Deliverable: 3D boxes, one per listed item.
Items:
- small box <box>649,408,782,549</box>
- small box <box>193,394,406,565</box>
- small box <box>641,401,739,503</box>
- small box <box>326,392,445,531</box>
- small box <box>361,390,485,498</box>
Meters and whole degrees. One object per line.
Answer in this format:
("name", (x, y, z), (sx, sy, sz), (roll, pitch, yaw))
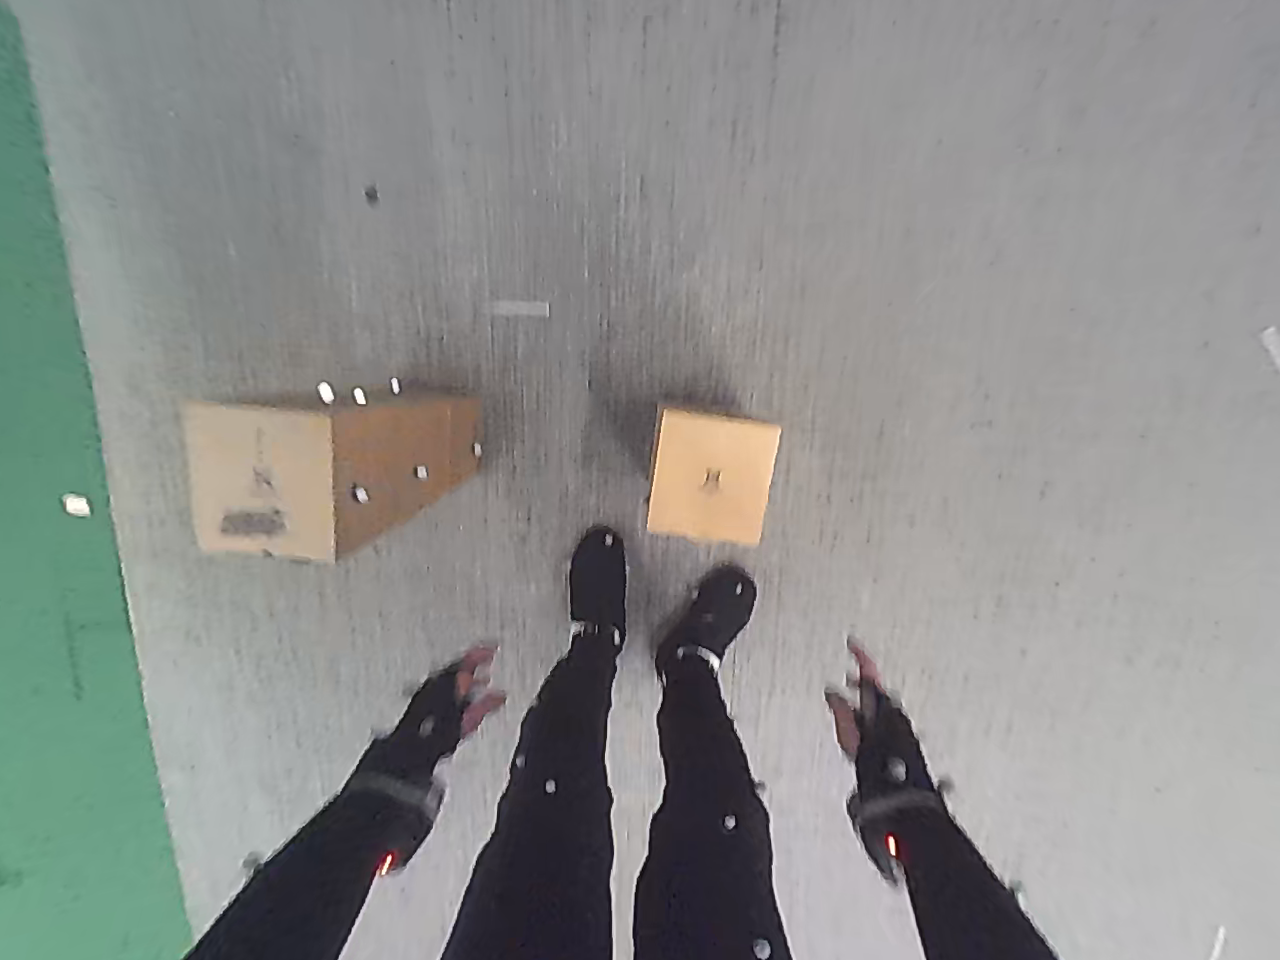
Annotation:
("small box", (0.105, -0.012, 0.835), (0.168, 0.176, 0.179), (8, 103, 0))
("small box", (-0.414, -0.010, 0.687), (0.168, 0.176, 0.179), (6, 102, 1))
("small box", (0.103, -0.042, 0.993), (0.168, 0.176, 0.179), (14, 103, 1))
("small box", (-0.418, -0.037, 0.849), (0.168, 0.176, 0.179), (7, 103, 1))
("small box", (-0.406, -0.074, 1.008), (0.179, 0.176, 0.168), (7, 103, 0))
